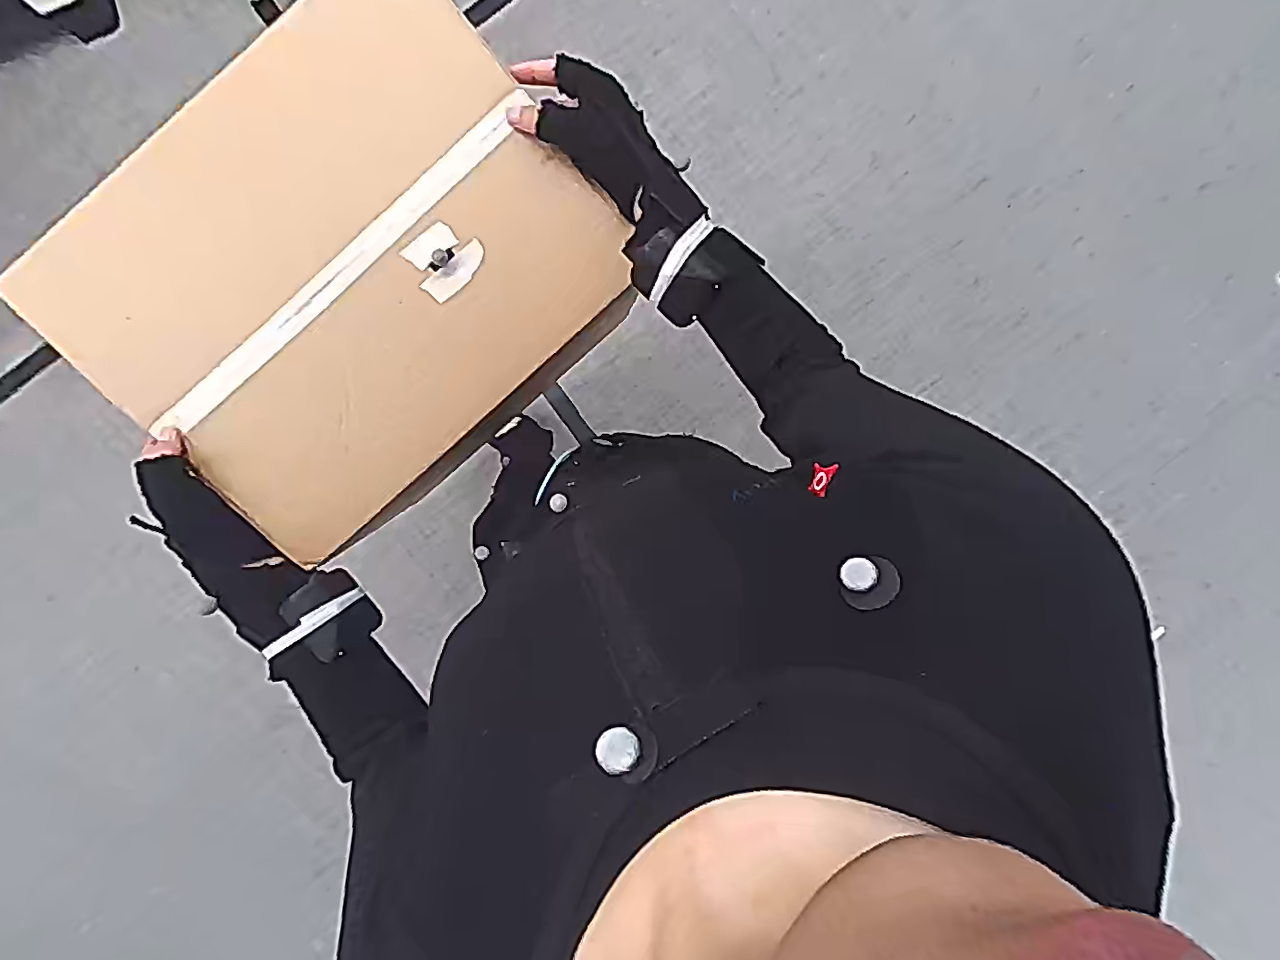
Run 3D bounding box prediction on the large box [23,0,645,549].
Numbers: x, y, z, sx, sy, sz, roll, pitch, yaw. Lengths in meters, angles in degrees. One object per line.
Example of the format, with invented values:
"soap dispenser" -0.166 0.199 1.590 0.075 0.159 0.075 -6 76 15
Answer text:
"large box" -0.256 -0.198 0.591 0.408 0.320 0.320 -42 102 0
